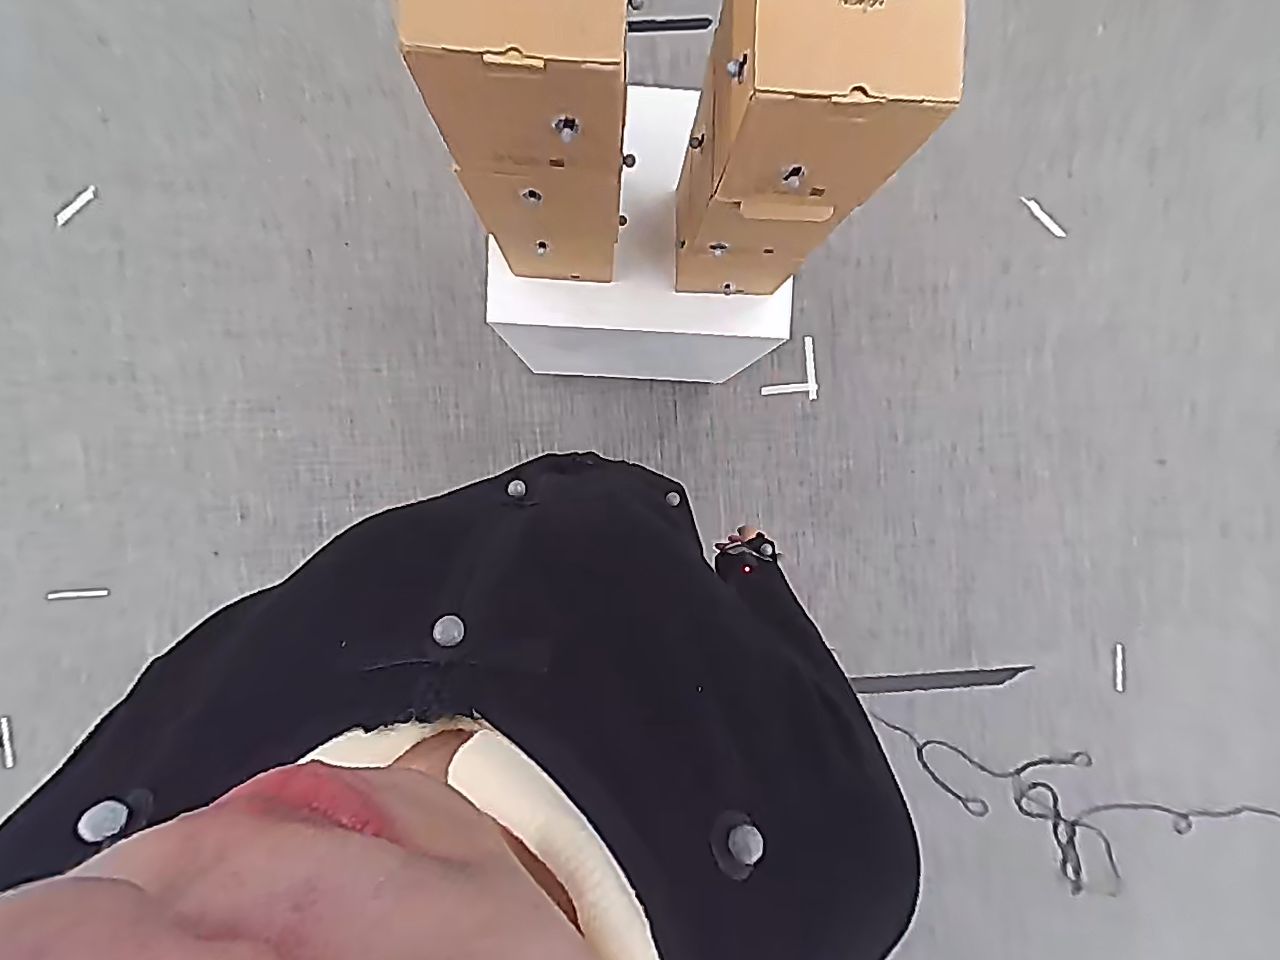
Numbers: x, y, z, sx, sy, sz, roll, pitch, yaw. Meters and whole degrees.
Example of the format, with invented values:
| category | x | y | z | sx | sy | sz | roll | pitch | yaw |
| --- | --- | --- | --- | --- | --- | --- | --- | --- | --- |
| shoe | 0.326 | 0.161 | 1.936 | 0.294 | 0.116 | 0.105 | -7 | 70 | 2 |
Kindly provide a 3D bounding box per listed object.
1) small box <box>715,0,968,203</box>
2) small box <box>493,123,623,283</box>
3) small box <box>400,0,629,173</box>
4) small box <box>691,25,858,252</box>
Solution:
| category | x | y | z | sx | sy | sz | roll | pitch | yaw |
| --- | --- | --- | --- | --- | --- | --- | --- | --- | --- |
| small box | 0.164 | -0.381 | 0.489 | 0.168 | 0.176 | 0.179 | 1 | 93 | -3 |
| small box | -0.114 | -0.413 | 0.799 | 0.168 | 0.176 | 0.179 | 3 | 92 | -3 |
| small box | -0.094 | -0.399 | 0.473 | 0.168 | 0.176 | 0.179 | 2 | 92 | -4 |
| small box | 0.155 | -0.391 | 0.651 | 0.168 | 0.176 | 0.179 | 1 | 92 | -3 |
